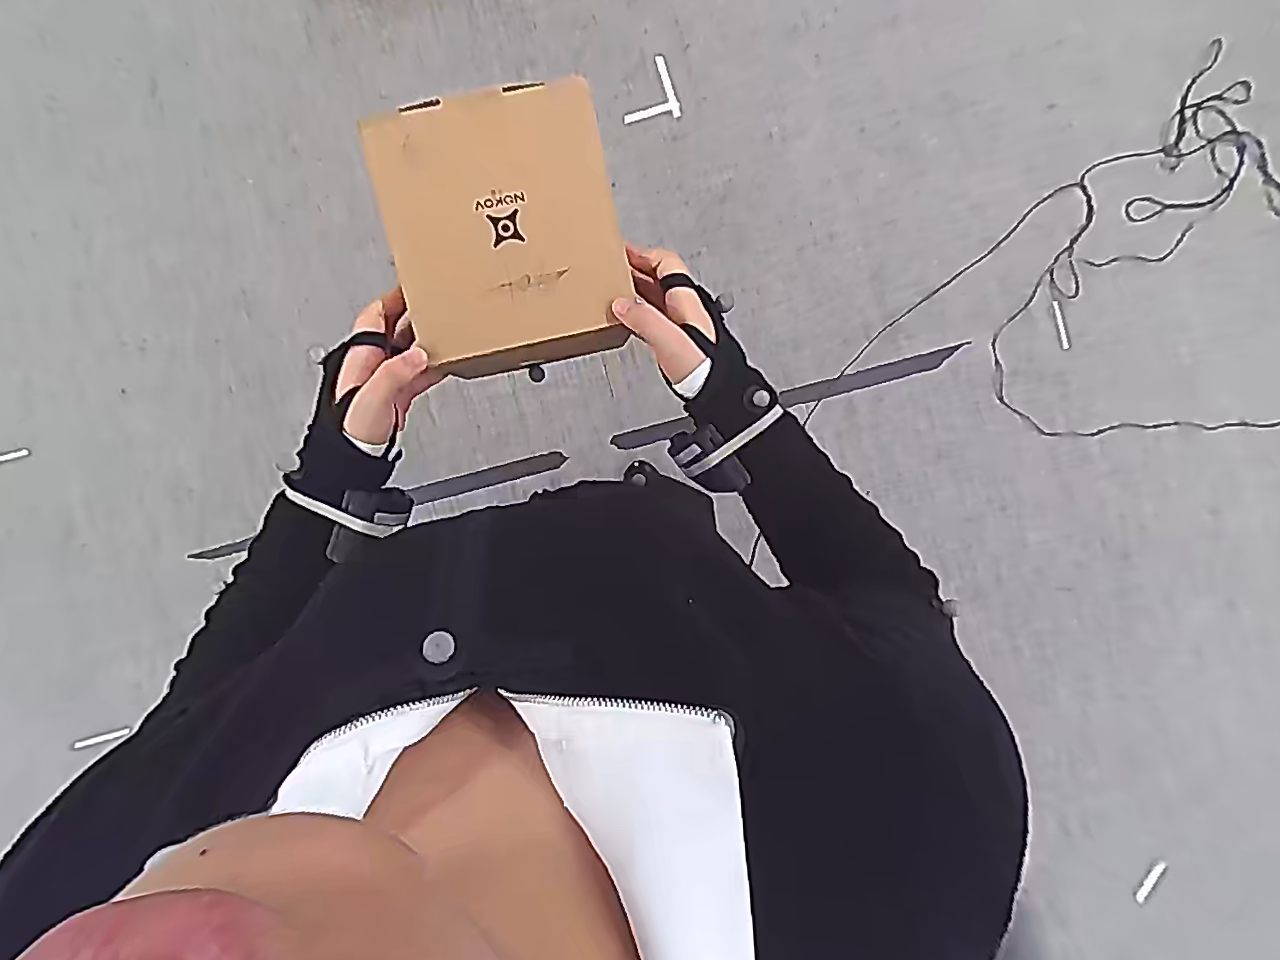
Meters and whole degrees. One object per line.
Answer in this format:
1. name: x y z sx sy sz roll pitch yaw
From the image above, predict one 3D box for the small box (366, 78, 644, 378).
1. small box: -0.102 -0.194 0.467 0.168 0.176 0.179 -14 99 -4
